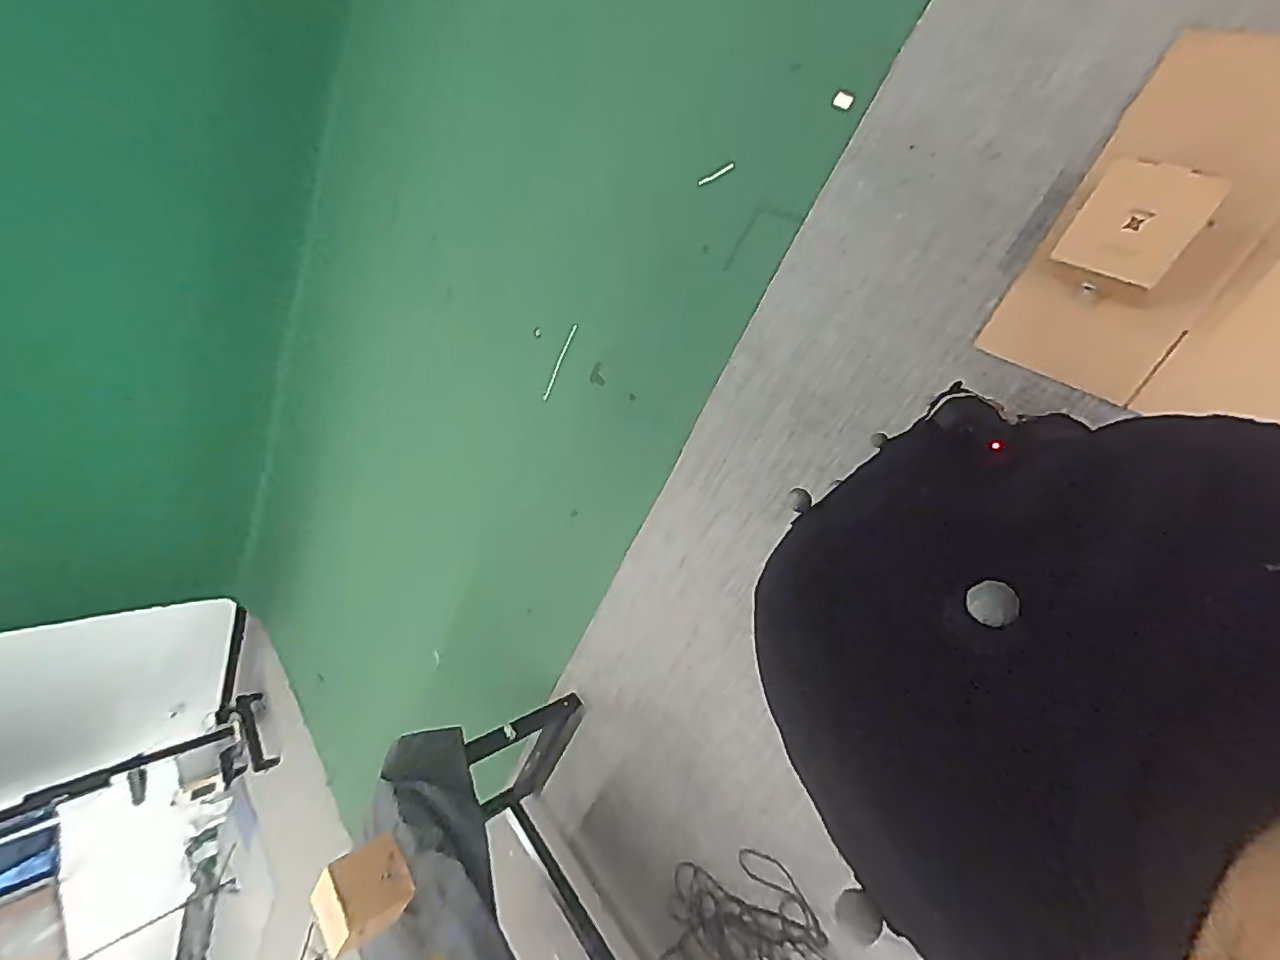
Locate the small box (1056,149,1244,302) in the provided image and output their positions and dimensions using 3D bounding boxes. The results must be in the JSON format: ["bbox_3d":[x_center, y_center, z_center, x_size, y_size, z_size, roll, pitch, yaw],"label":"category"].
[{"bbox_3d":[0.872,-0.436,0.945,0.168,0.176,0.179,40,117,32],"label":"small box"}]

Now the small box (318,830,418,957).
[{"bbox_3d":[-0.697,1.057,1.393,0.168,0.176,0.179,45,119,29],"label":"small box"}]
